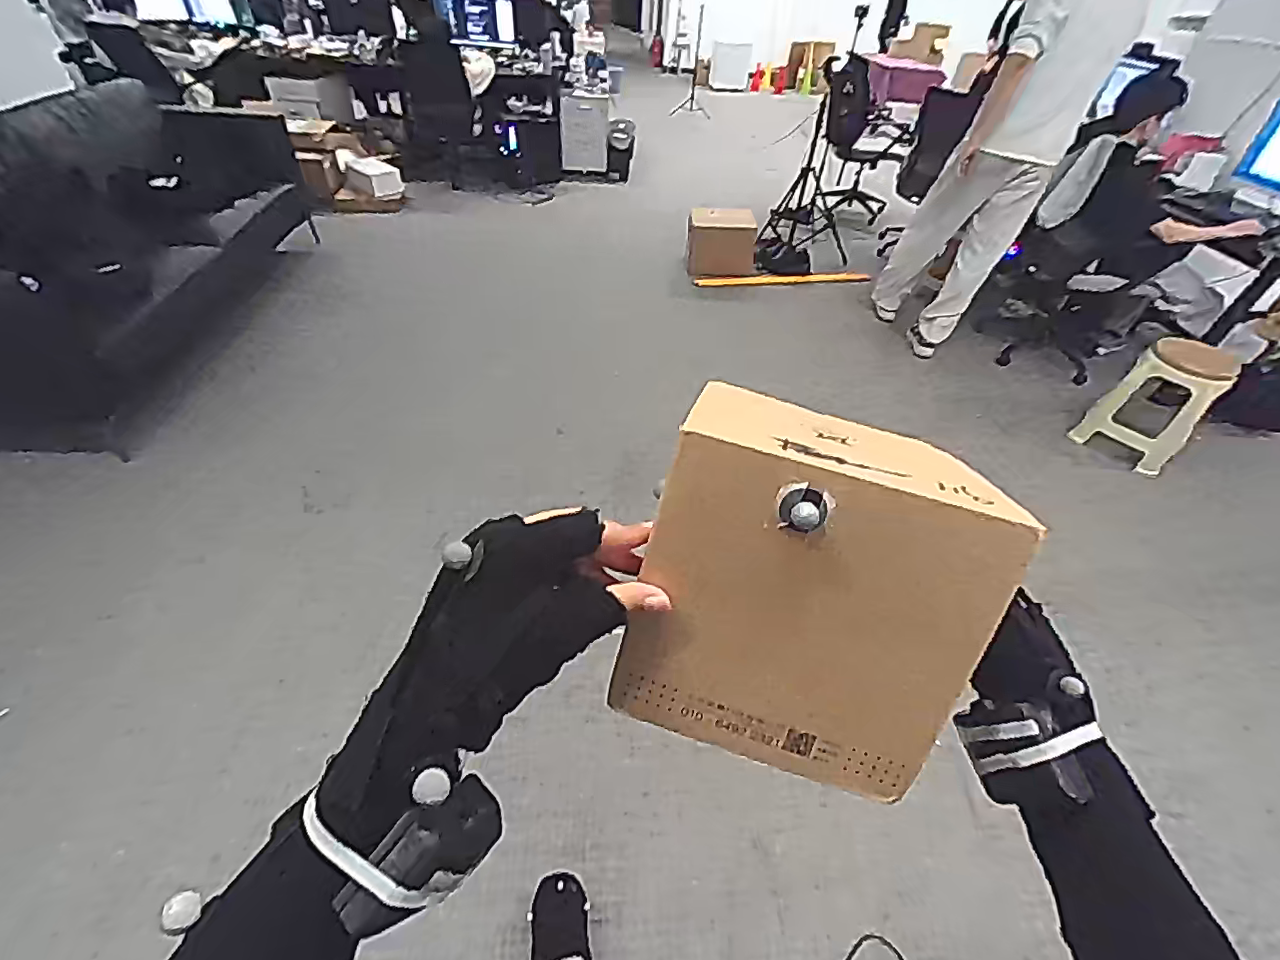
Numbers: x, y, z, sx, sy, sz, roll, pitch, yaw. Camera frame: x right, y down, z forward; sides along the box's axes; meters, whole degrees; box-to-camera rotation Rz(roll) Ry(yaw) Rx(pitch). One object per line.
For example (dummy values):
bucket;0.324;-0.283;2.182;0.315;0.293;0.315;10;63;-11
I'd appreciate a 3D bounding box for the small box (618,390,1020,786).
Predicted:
small box;0.093;0.051;0.358;0.168;0.176;0.179;16;18;6
